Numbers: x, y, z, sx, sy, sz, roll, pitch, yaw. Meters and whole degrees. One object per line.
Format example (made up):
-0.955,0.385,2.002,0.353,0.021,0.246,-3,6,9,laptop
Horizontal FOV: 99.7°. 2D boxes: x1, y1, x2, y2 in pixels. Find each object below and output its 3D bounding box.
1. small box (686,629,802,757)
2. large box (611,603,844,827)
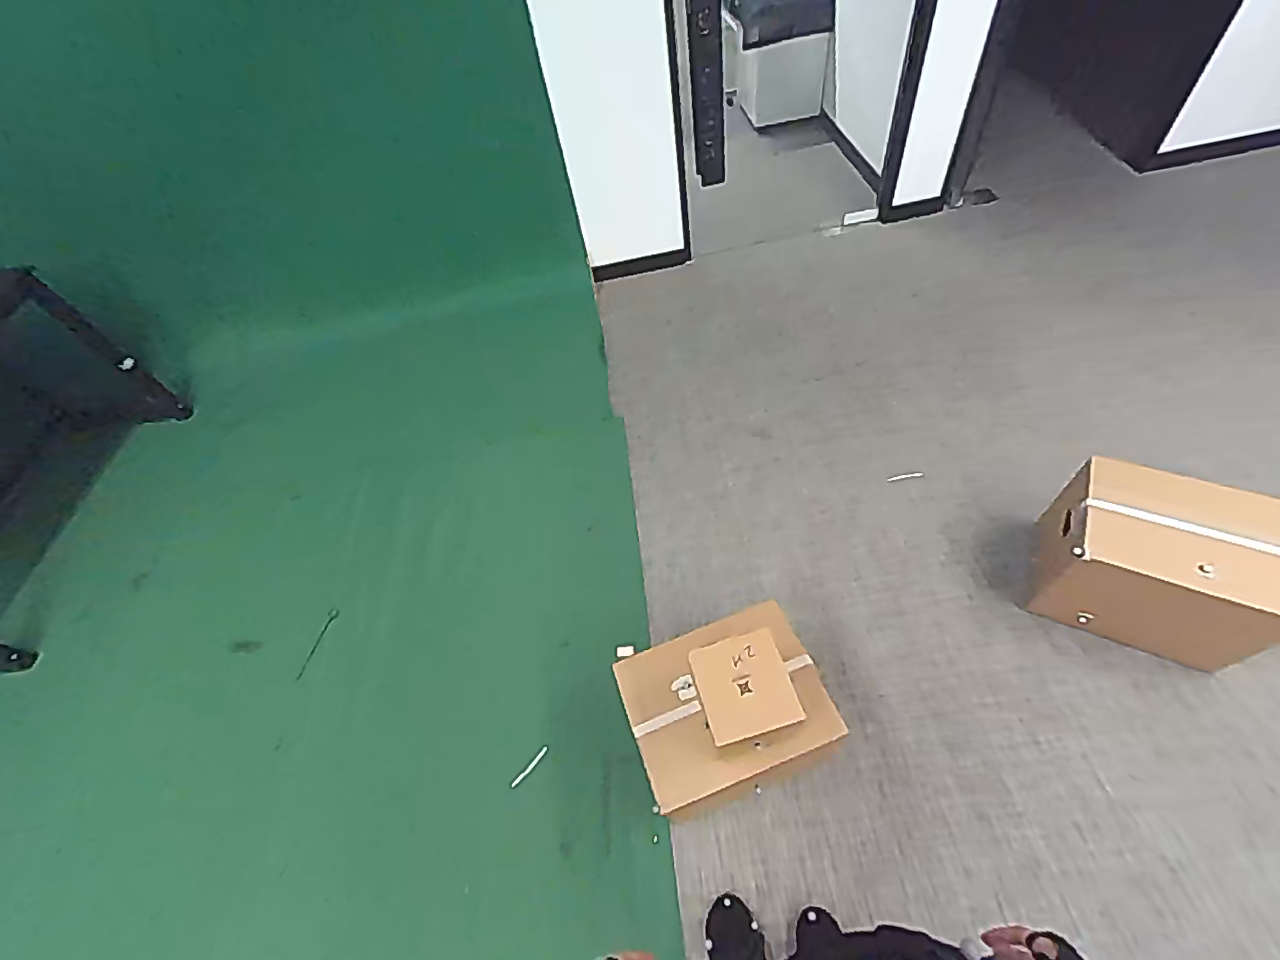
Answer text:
0.193,0.414,1.036,0.168,0.176,0.179,-15,53,-3,small box
0.192,0.547,1.248,0.408,0.320,0.320,-21,52,-5,large box
